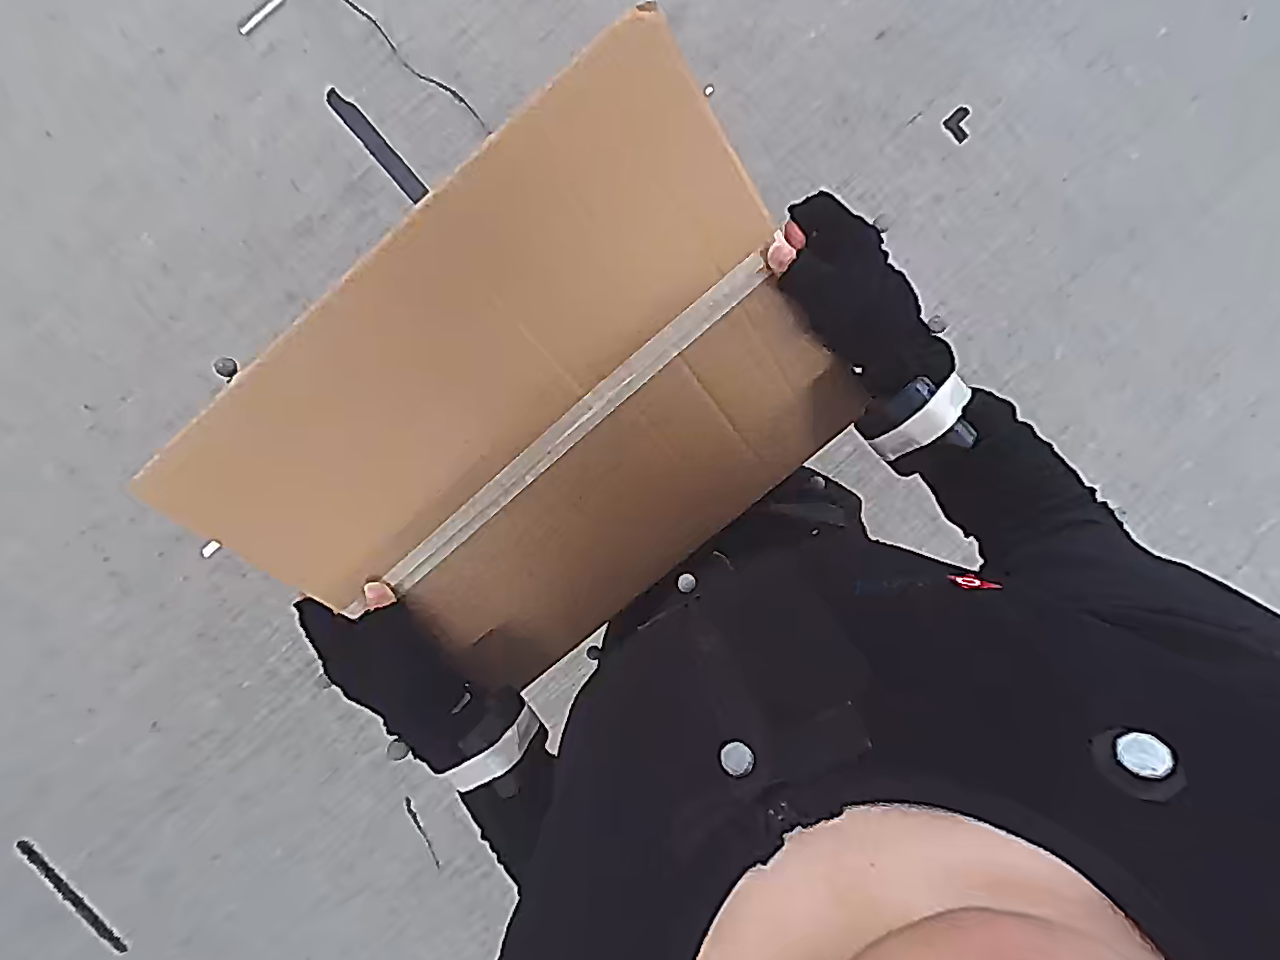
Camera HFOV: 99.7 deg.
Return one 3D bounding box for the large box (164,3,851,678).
[{"bbox_3d":[-0.102,-0.105,0.519,0.408,0.320,0.320,-40,122,6],"label":"large box"}]
